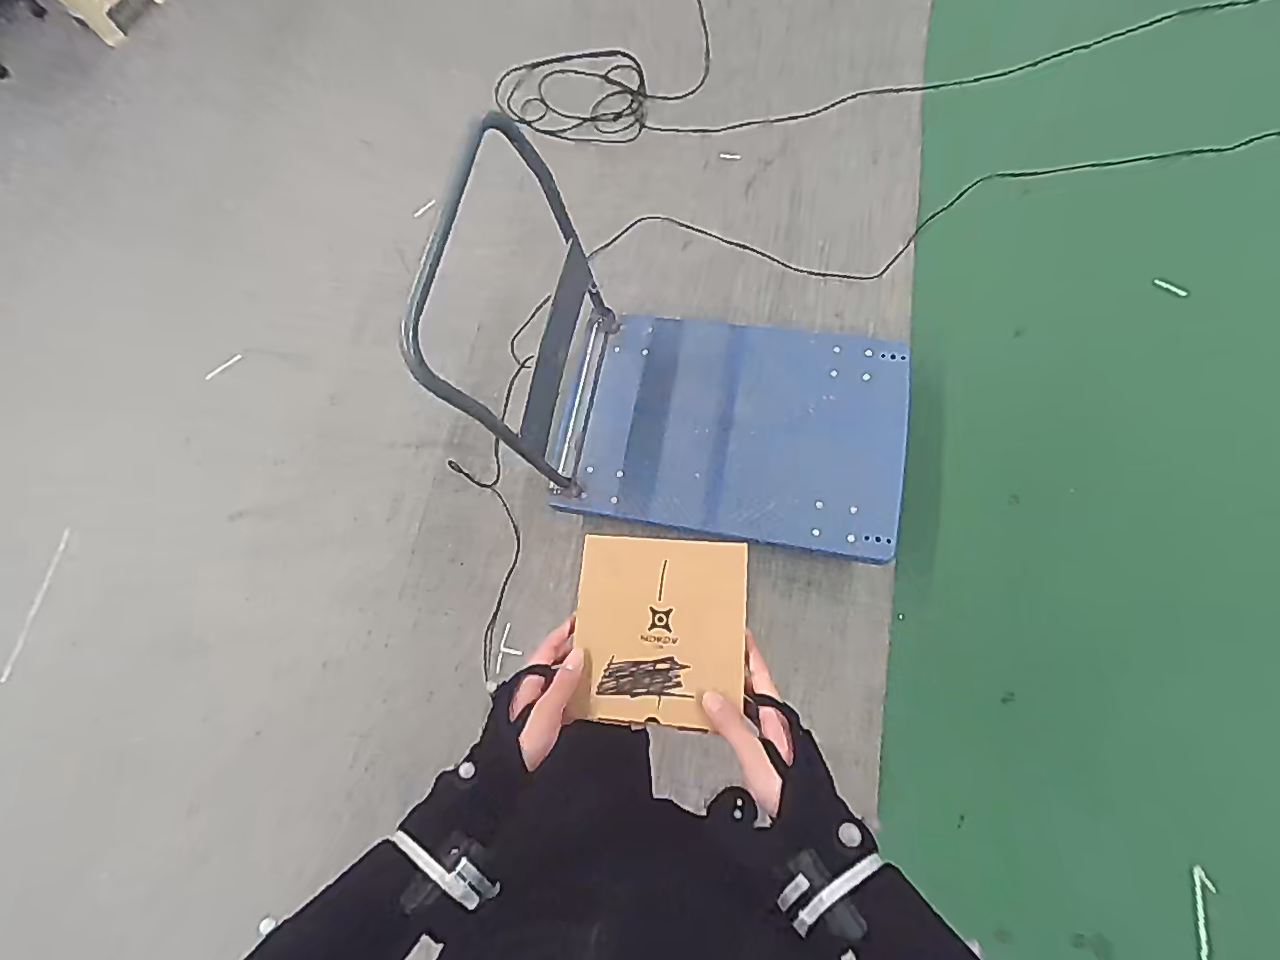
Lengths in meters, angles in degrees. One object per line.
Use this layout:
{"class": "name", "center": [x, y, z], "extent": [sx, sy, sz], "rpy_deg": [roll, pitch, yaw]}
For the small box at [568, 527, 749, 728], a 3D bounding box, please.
{"class": "small box", "center": [0.030, 0.158, 0.596], "extent": [0.168, 0.176, 0.179], "rpy_deg": [3, 73, 8]}
